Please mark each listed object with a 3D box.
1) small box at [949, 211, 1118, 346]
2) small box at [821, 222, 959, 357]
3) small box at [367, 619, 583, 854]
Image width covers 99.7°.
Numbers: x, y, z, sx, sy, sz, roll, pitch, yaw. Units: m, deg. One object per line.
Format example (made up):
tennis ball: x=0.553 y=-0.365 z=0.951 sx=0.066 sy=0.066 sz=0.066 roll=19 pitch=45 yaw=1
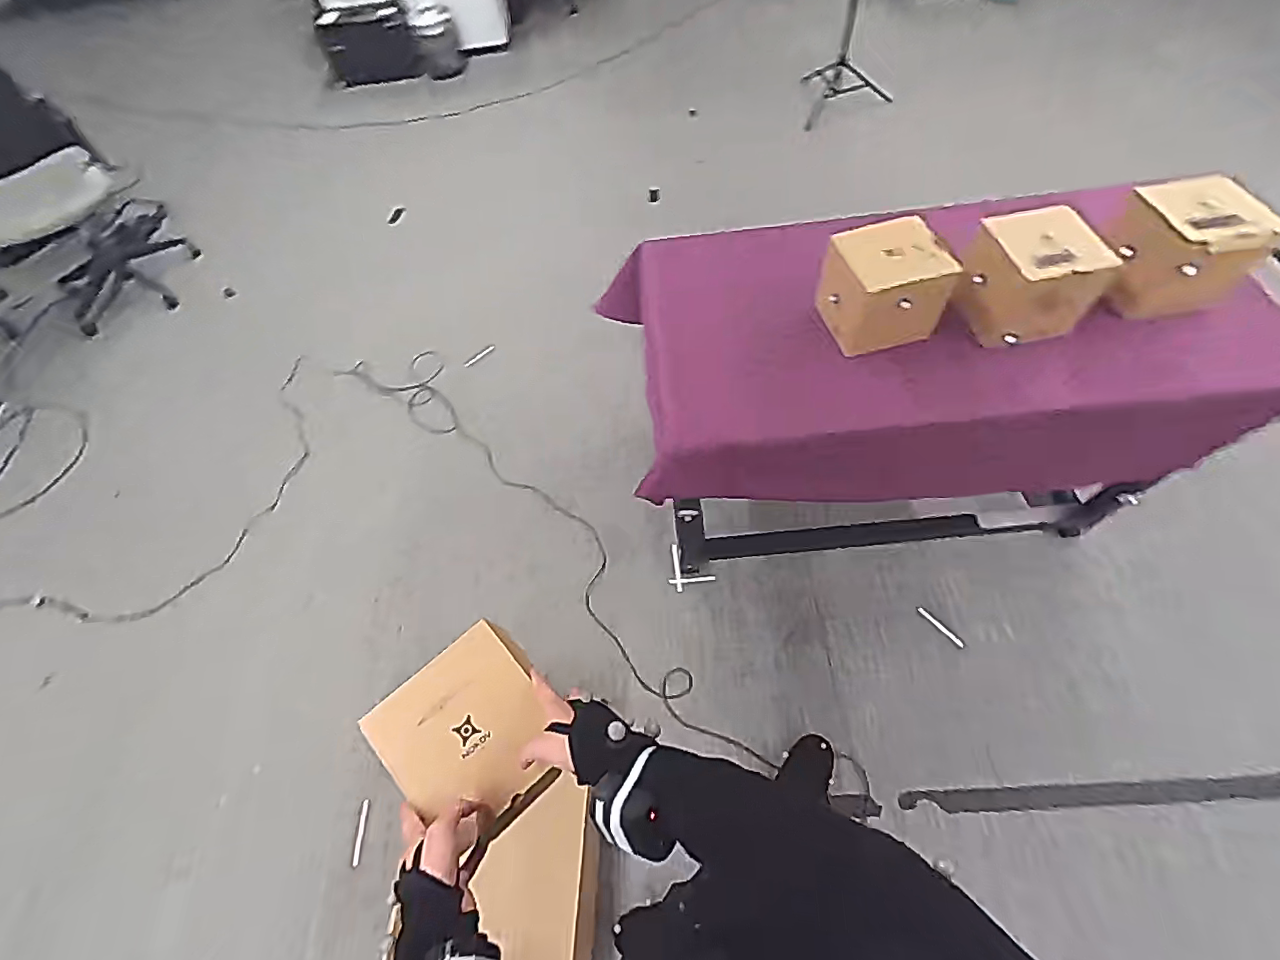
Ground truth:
small box: x=0.732 y=-0.374 z=1.033 sx=0.168 sy=0.176 sz=0.179 roll=-10 pitch=58 yaw=0
small box: x=0.468 y=-0.363 z=1.053 sx=0.179 sy=0.176 sz=0.168 roll=-13 pitch=60 yaw=-2
small box: x=-0.181 y=0.290 z=0.653 sx=0.168 sy=0.176 sz=0.179 roll=-38 pitch=79 yaw=-16
